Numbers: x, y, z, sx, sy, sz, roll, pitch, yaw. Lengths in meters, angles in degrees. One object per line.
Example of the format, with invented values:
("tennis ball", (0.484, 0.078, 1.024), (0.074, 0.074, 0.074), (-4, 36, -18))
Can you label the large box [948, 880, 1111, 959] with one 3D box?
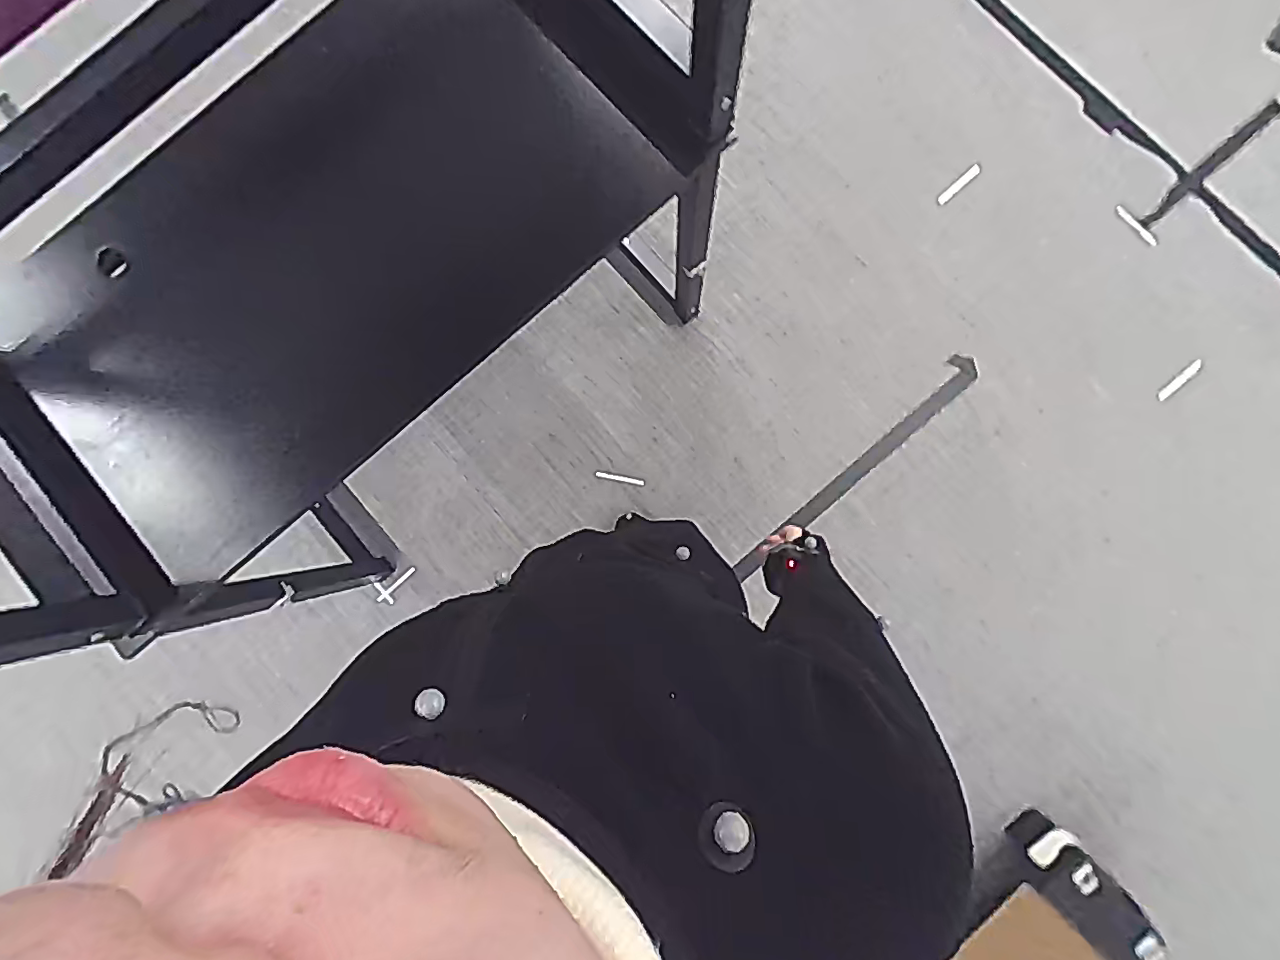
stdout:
("large box", (0.835, 1.140, 1.067), (0.408, 0.320, 0.320), (-45, 86, -2))
